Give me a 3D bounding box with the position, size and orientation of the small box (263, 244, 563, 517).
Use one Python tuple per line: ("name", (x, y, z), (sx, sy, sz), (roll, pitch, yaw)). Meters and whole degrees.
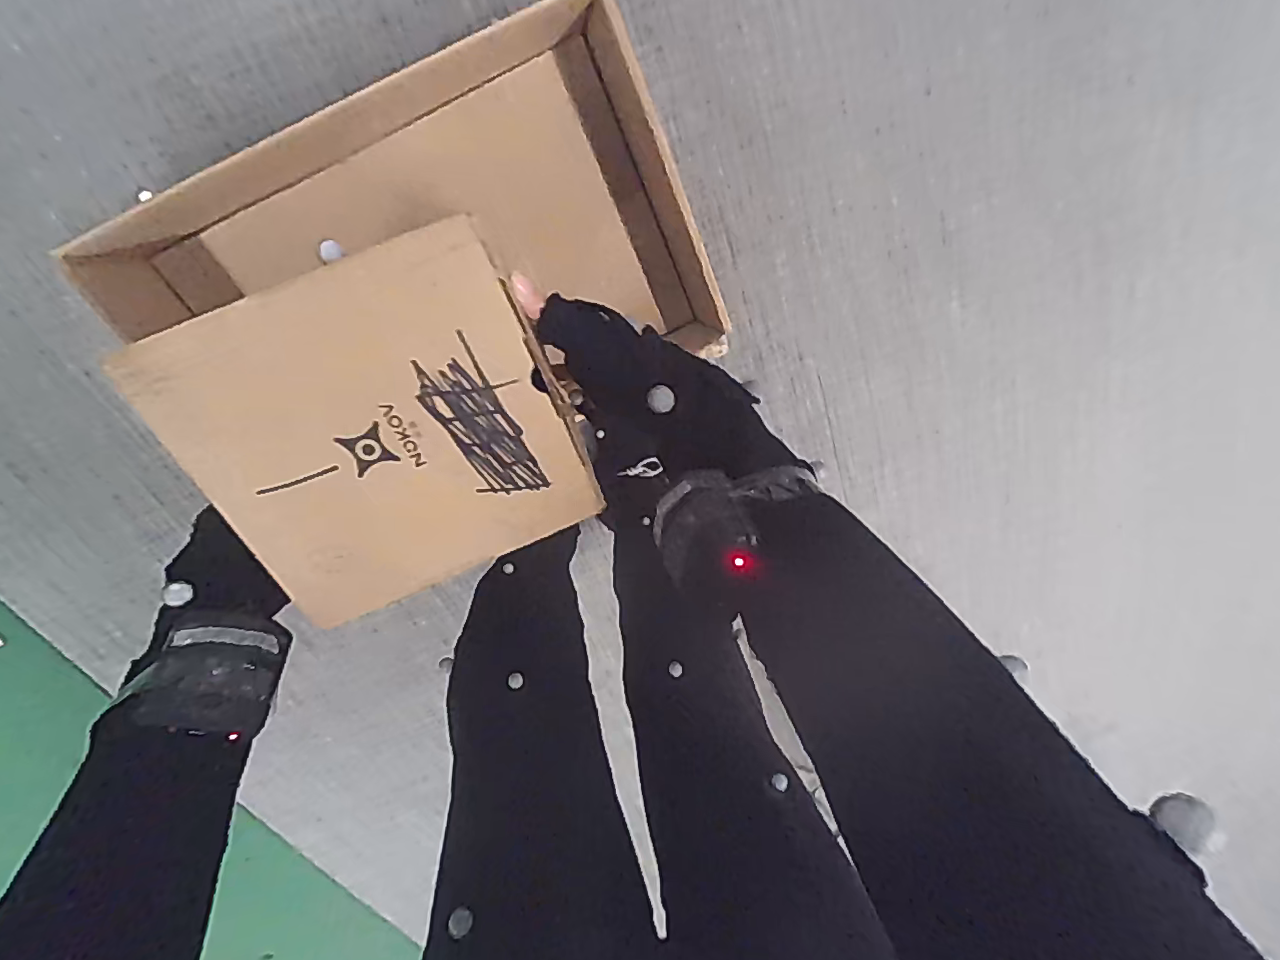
("small box", (-0.182, -0.101, 0.493), (0.168, 0.176, 0.179), (-23, 116, -3))
